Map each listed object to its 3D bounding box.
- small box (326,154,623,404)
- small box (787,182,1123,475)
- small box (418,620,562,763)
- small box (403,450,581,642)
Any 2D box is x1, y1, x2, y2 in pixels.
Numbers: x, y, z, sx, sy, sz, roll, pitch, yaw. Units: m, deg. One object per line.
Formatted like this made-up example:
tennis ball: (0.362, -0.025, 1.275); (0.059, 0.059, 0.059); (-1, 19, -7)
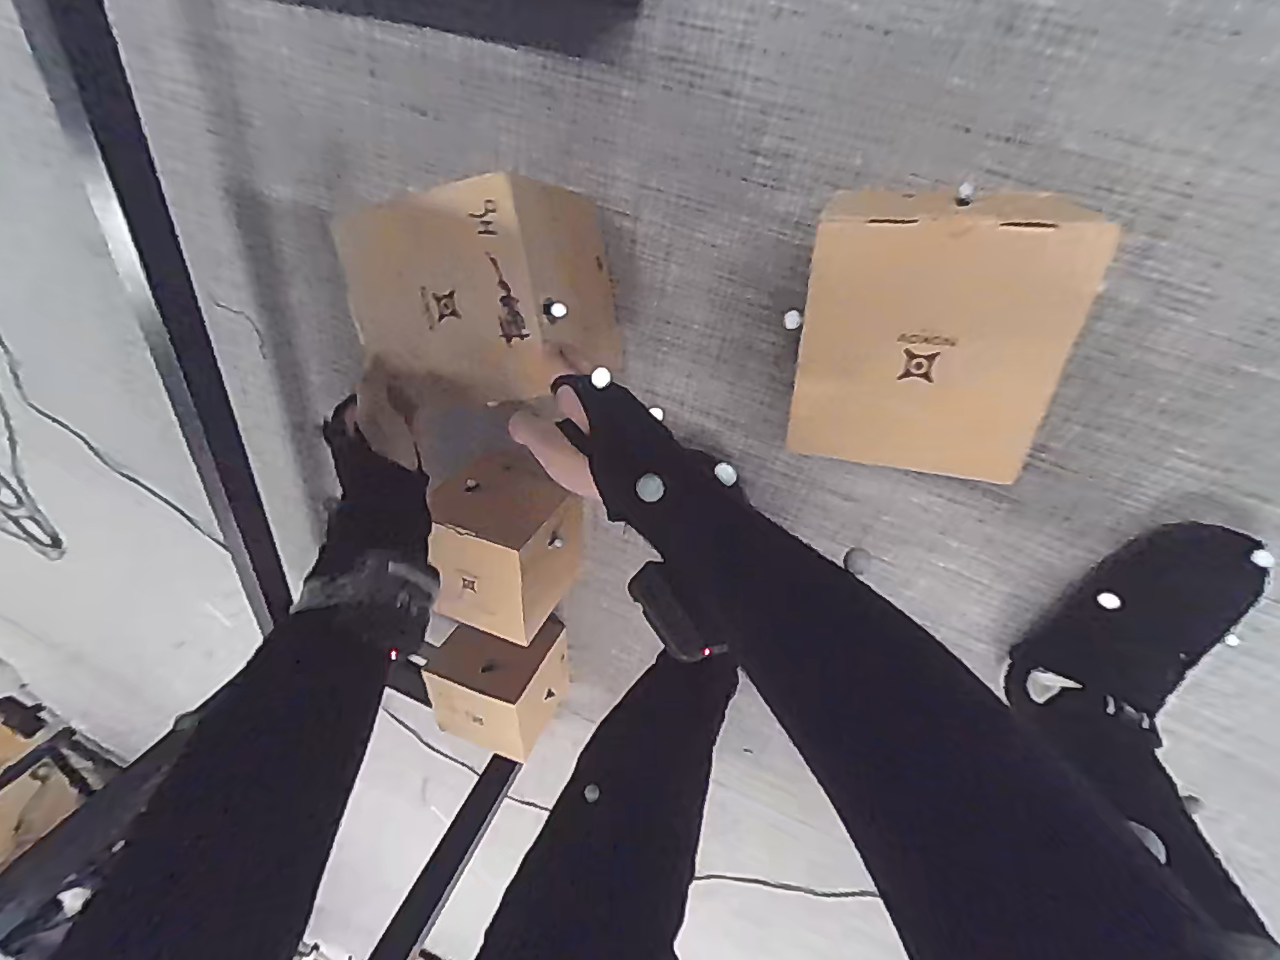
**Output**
small box: (-0.134, -0.173, 0.498); (0.179, 0.176, 0.168); (-3, 109, 21)
small box: (0.222, -0.130, 0.431); (0.168, 0.176, 0.179); (10, 124, 17)
small box: (-0.241, 0.337, 0.924); (0.179, 0.176, 0.168); (14, 125, 15)
small box: (-0.189, 0.081, 0.742); (0.168, 0.176, 0.179); (15, 125, 15)
